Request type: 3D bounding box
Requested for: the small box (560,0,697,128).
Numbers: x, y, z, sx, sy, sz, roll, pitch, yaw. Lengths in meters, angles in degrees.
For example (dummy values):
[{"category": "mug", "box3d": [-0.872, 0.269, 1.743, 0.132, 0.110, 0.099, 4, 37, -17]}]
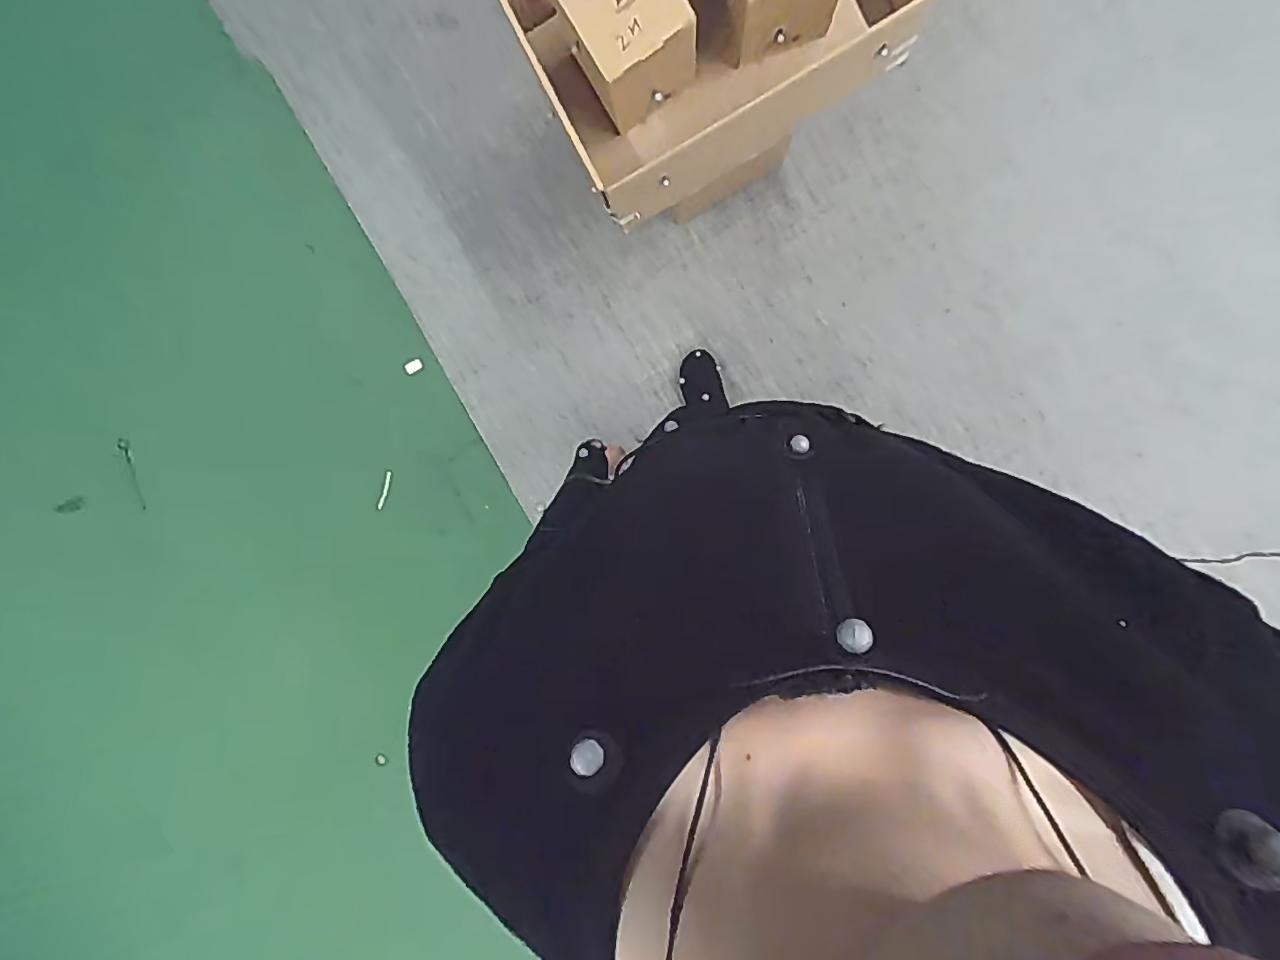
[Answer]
[{"category": "small box", "box3d": [-0.018, -0.747, 0.907, 0.168, 0.176, 0.179, -31, 94, 8]}]
